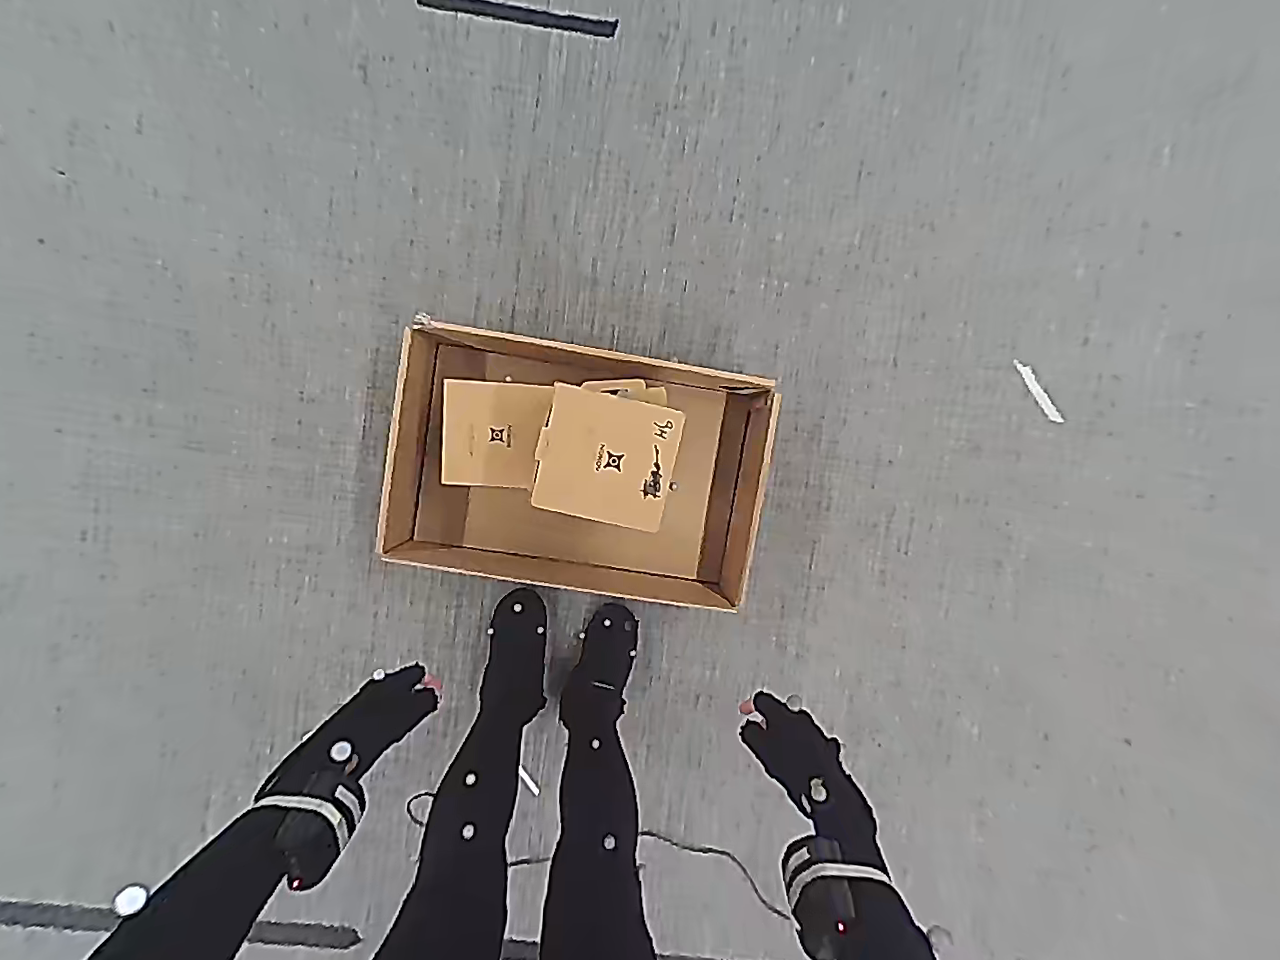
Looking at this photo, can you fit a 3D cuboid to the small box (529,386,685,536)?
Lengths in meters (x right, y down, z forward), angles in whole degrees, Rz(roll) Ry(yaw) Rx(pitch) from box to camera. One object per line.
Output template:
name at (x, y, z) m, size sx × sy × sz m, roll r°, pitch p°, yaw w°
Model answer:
small box at (-0.046, -0.029, 0.781) m, size 0.179 × 0.176 × 0.168 m, roll 13°, pitch 94°, yaw -3°
